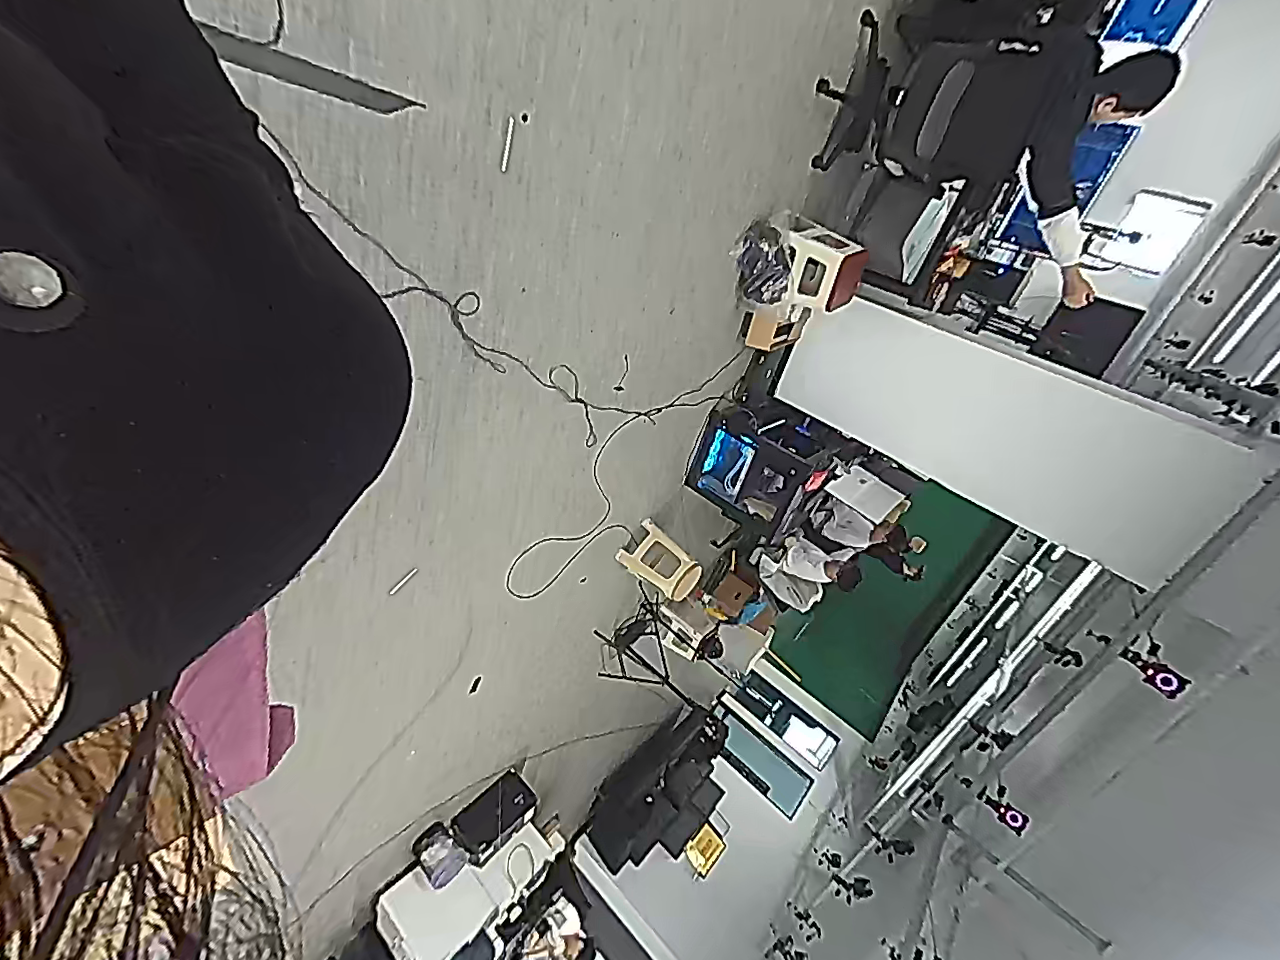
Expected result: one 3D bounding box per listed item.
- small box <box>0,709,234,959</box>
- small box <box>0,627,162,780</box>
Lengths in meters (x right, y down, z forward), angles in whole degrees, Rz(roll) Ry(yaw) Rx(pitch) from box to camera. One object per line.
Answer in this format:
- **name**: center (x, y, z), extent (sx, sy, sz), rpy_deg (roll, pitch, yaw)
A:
- **small box**: center (-0.600, 0.405, 0.608), extent (0.179, 0.176, 0.168), rpy_deg (-24, 141, -48)
- **small box**: center (-0.720, 0.322, 0.679), extent (0.168, 0.176, 0.179), rpy_deg (-22, 138, -48)
